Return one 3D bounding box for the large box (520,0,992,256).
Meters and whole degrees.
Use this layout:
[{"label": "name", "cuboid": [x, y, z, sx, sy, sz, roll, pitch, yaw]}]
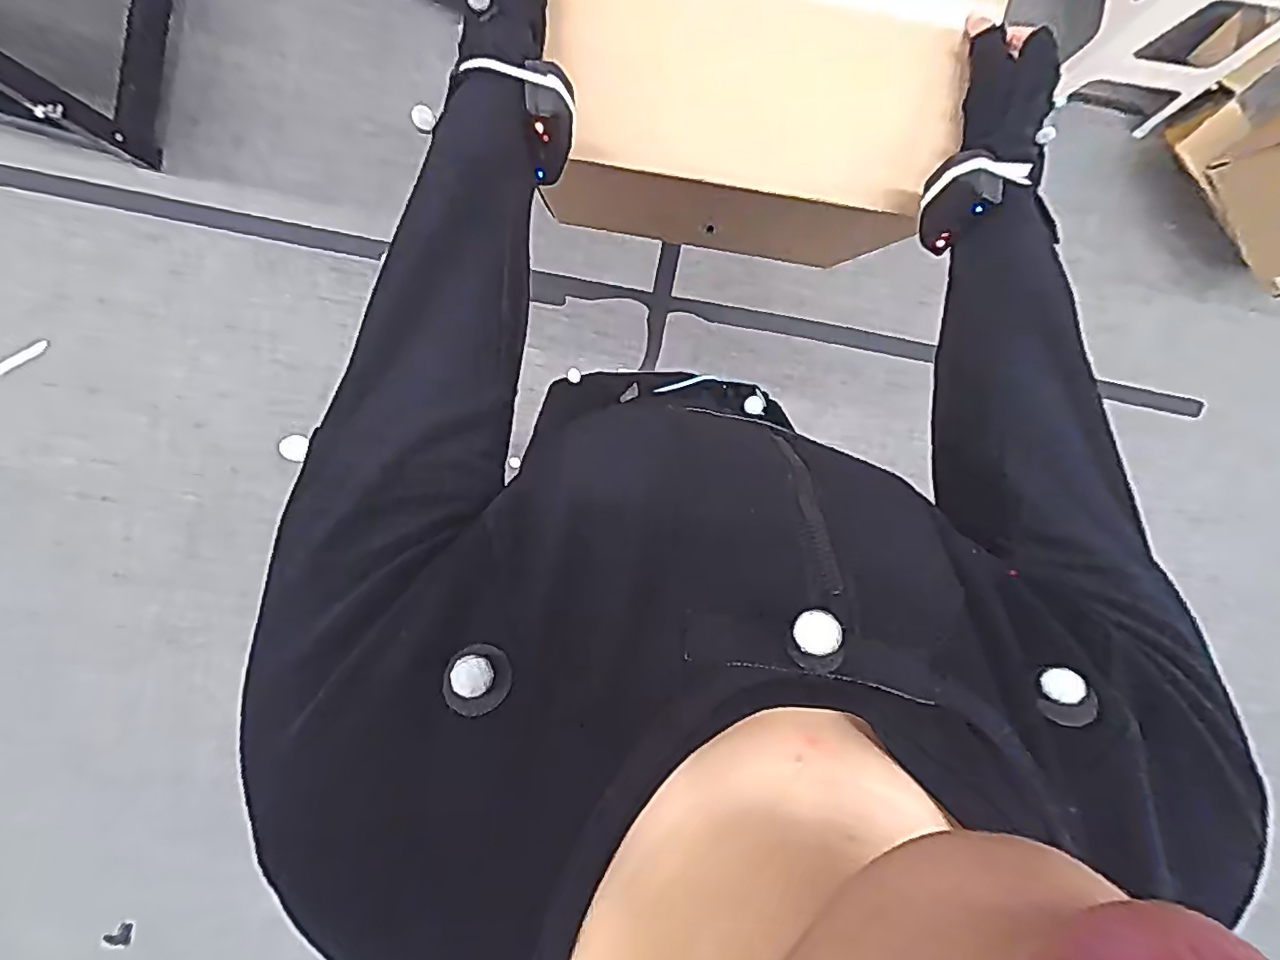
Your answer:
[{"label": "large box", "cuboid": [0.104, -0.458, 0.608, 0.408, 0.320, 0.320, 8, 103, -4]}]
